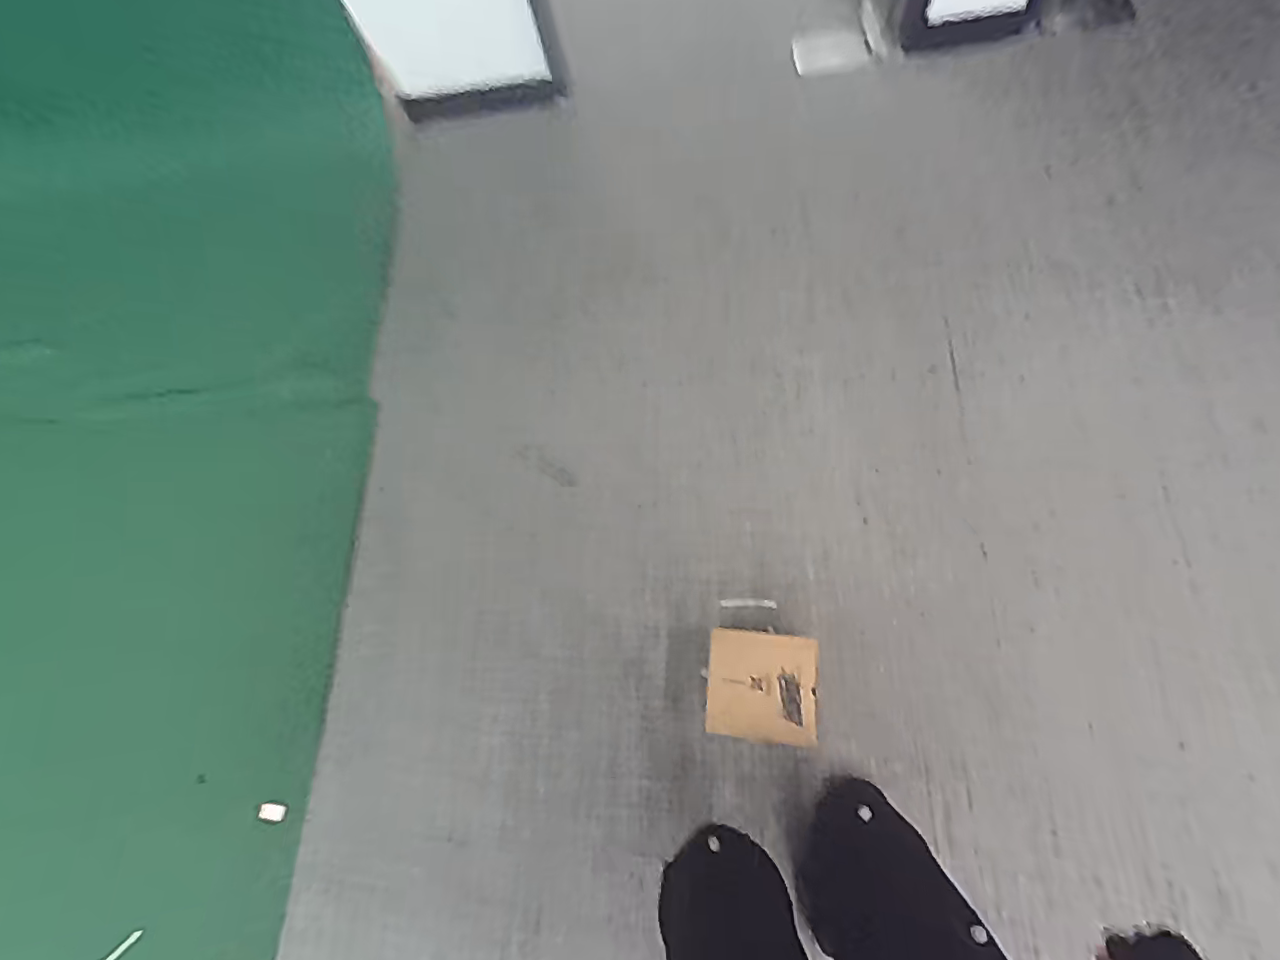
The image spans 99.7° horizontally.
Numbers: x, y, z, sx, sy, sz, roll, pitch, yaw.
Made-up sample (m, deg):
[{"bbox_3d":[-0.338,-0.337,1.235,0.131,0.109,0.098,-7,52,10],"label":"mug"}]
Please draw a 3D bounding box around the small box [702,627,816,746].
[{"bbox_3d":[0.209,0.359,0.962,0.179,0.176,0.168,4,73,12],"label":"small box"}]
